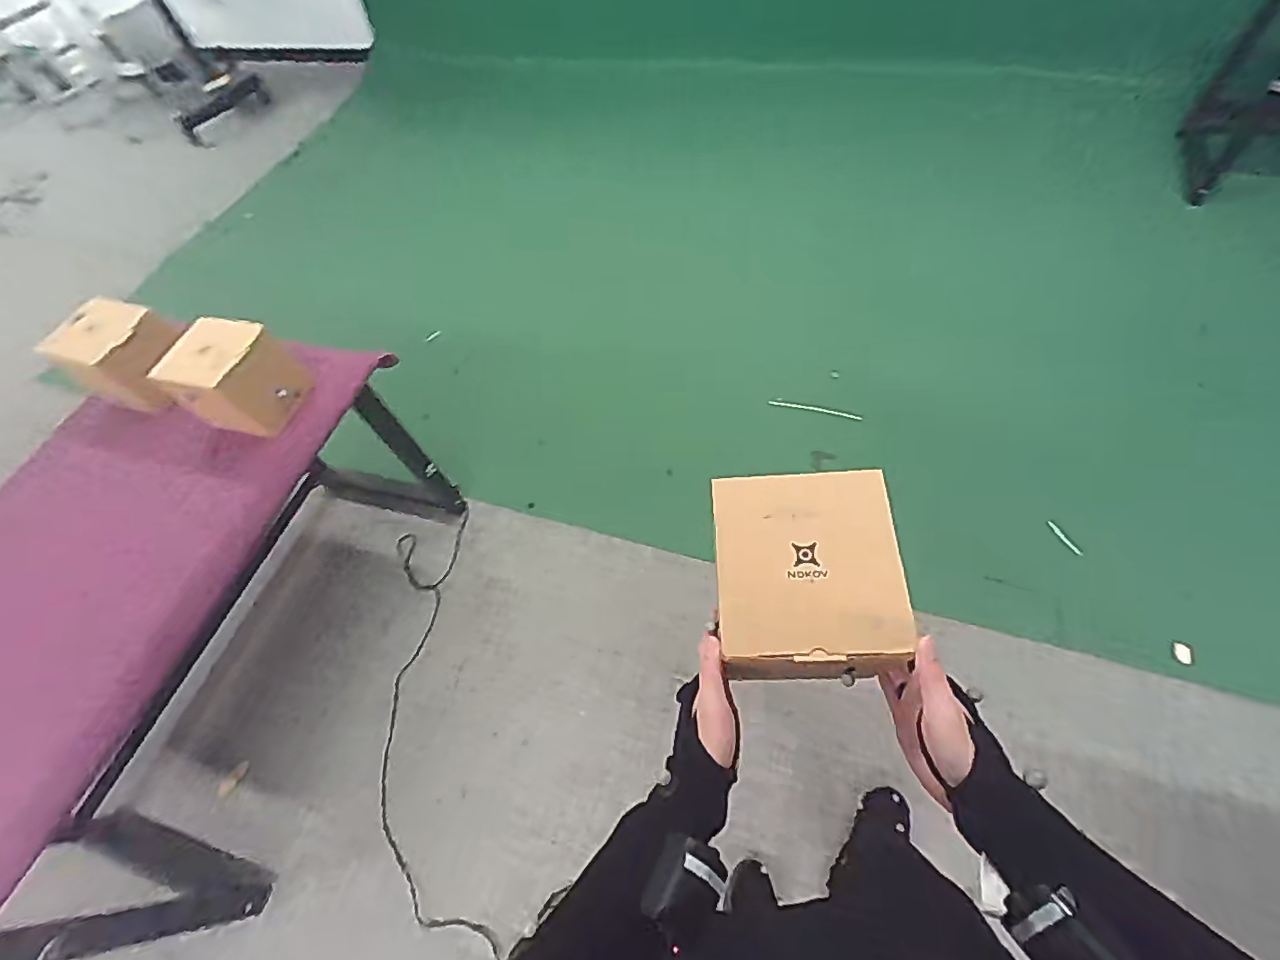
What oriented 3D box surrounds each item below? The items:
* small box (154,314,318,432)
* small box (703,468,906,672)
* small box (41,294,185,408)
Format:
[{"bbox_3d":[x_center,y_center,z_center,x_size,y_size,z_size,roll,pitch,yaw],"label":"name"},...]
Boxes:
[{"bbox_3d":[-0.835,-0.221,1.136,0.179,0.176,0.168,12,63,15],"label":"small box"},{"bbox_3d":[0.156,0.105,0.570,0.168,0.176,0.179,-4,63,7],"label":"small box"},{"bbox_3d":[-1.136,-0.282,1.212,0.179,0.176,0.168,15,62,12],"label":"small box"}]
